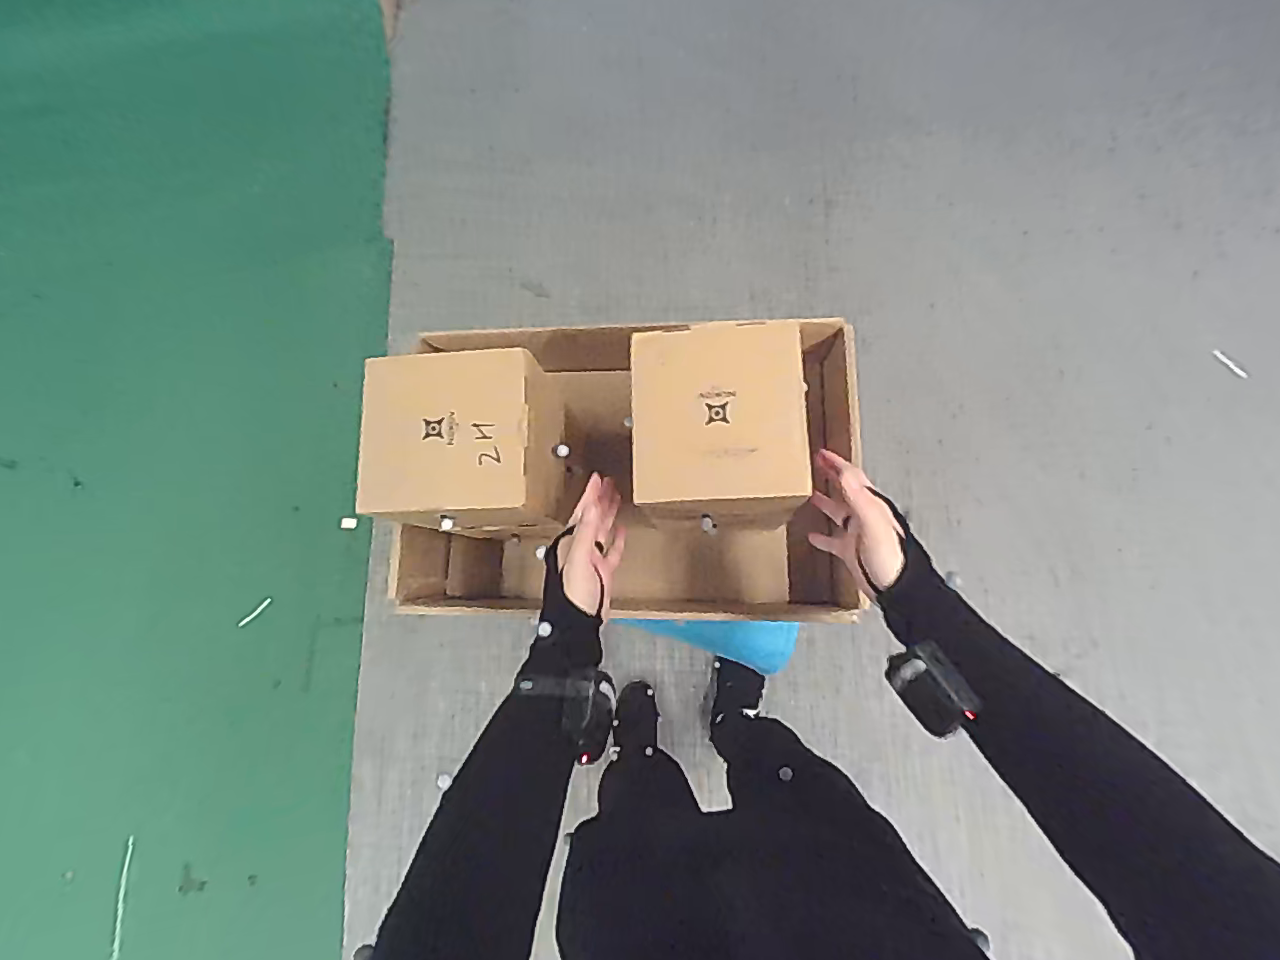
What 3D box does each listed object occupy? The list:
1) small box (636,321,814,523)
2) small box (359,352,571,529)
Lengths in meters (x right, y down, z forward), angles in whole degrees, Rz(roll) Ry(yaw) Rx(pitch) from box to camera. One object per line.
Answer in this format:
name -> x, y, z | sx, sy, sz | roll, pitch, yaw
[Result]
small box -> 0.088, -0.050, 0.591 | 0.168, 0.176, 0.179 | -2, 79, 9
small box -> -0.186, -0.034, 0.623 | 0.179, 0.176, 0.168 | -2, 80, 6
